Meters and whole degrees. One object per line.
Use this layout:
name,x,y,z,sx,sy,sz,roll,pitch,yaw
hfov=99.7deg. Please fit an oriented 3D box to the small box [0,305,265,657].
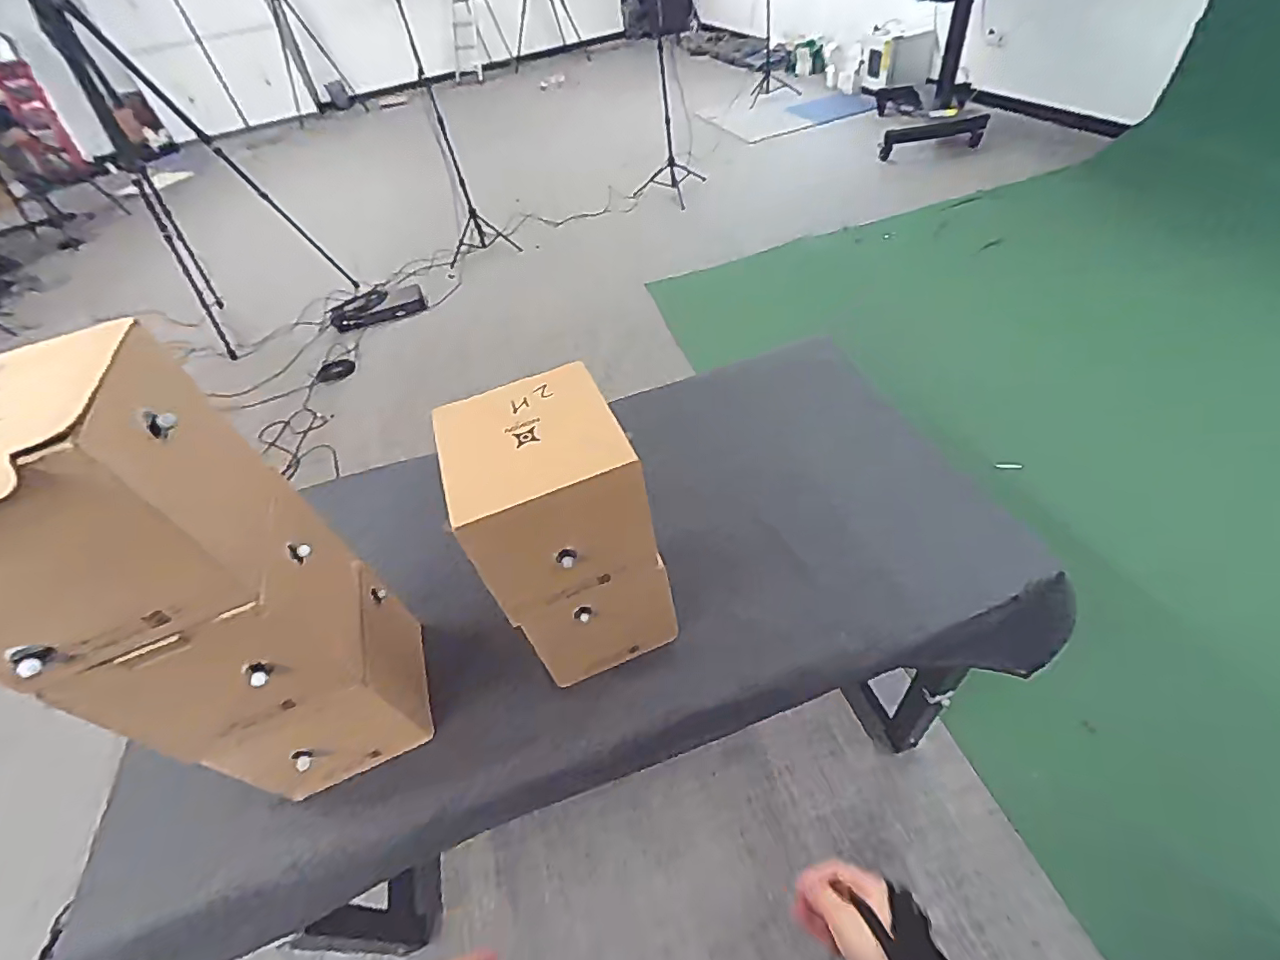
small box,-0.413,0.005,0.400,0.168,0.176,0.179,-23,47,-13

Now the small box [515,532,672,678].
small box,-0.069,0.115,0.686,0.168,0.176,0.179,-21,47,-9

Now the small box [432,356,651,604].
small box,-0.097,0.006,0.563,0.168,0.176,0.179,-20,47,-9

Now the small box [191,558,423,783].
small box,-0.371,0.229,0.637,0.168,0.176,0.179,-20,47,-11

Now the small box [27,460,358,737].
small box,-0.392,0.118,0.518,0.168,0.176,0.179,-22,46,-12
